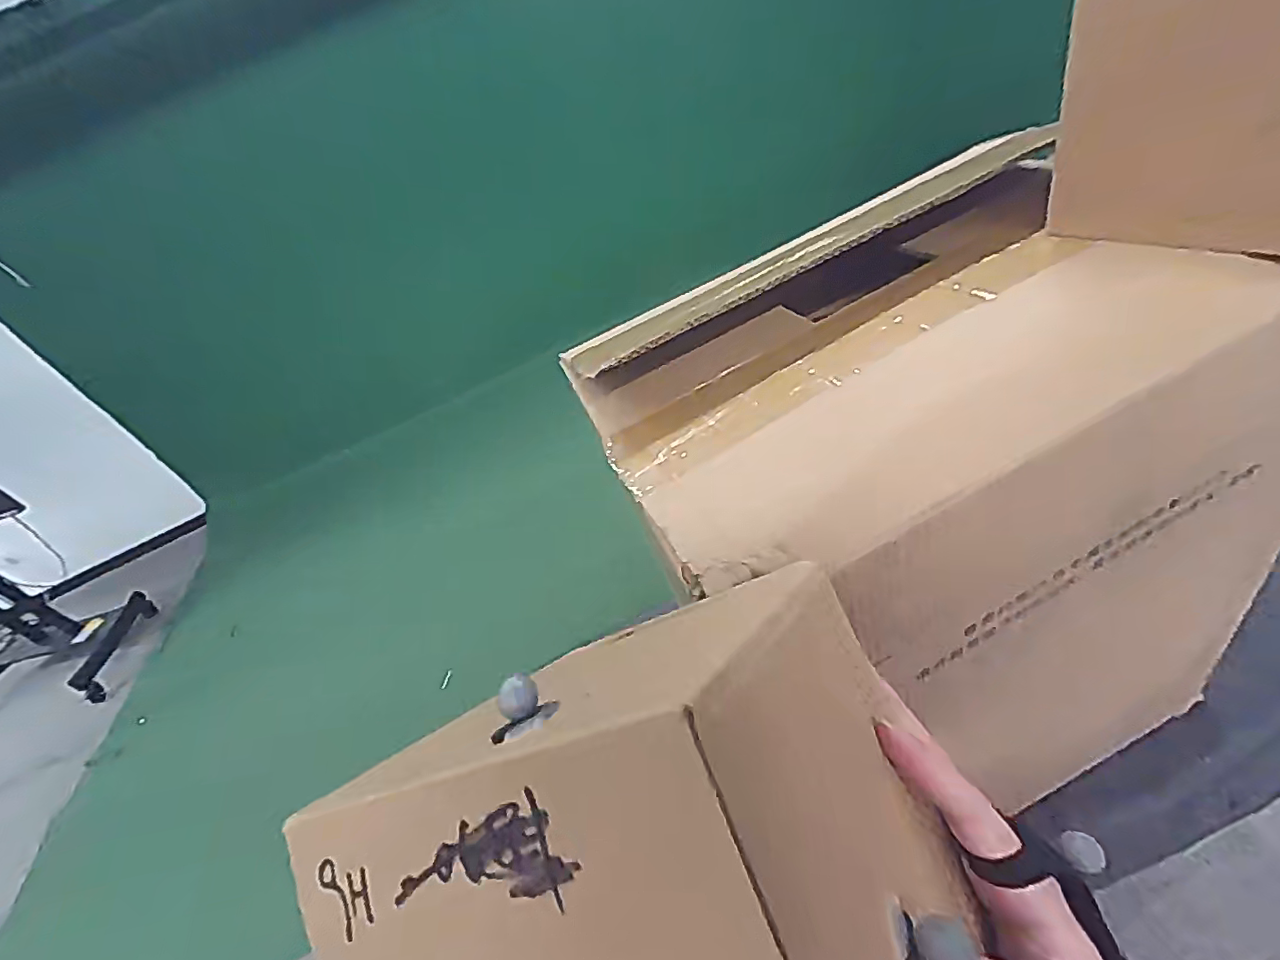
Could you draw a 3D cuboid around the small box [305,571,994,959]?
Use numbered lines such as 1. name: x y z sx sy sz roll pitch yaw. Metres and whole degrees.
1. small box: 0.021 0.156 0.209 0.168 0.179 0.176 -27 -9 25
